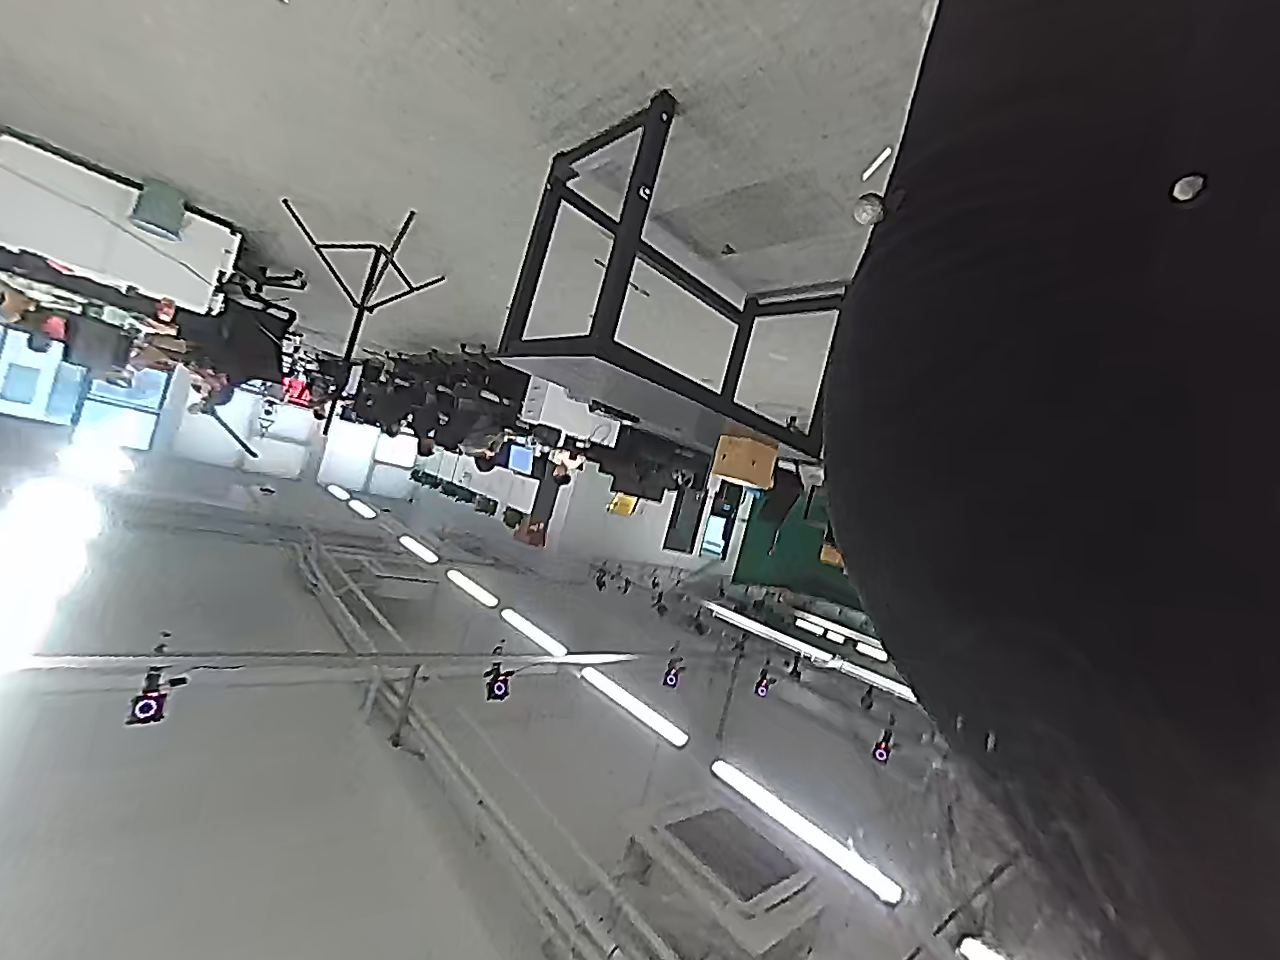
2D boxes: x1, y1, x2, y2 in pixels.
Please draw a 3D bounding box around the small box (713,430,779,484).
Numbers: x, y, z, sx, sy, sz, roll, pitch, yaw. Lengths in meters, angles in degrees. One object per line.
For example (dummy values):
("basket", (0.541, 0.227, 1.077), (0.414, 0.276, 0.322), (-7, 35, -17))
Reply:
("small box", (0.425, -0.094, 2.157), (0.179, 0.176, 0.168), (15, 180, -39))
